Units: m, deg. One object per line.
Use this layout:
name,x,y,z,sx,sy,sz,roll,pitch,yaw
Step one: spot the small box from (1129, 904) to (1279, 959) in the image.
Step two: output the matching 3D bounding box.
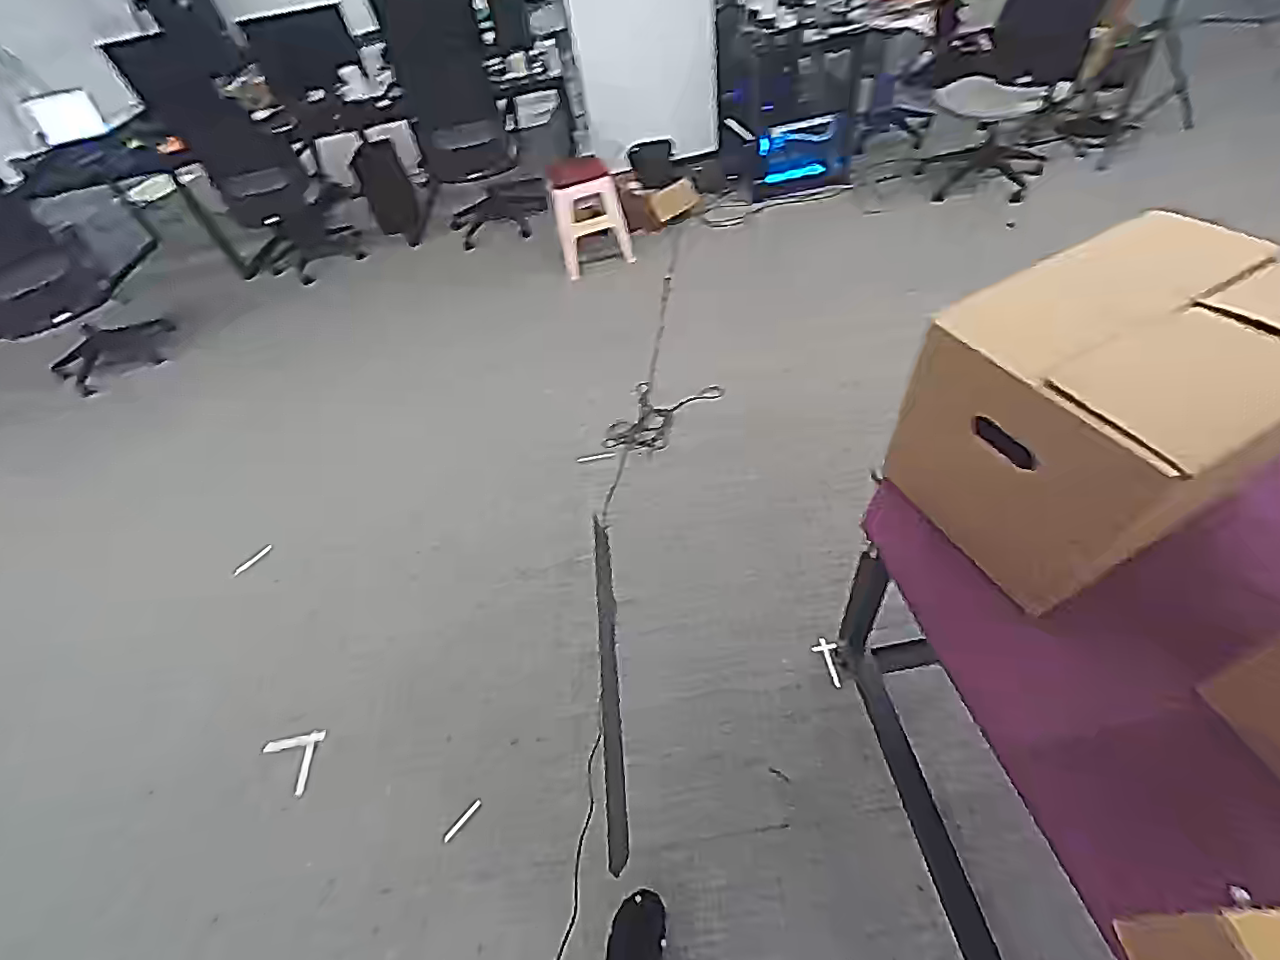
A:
small box,0.545,0.427,0.409,0.179,0.176,0.168,-7,49,6
